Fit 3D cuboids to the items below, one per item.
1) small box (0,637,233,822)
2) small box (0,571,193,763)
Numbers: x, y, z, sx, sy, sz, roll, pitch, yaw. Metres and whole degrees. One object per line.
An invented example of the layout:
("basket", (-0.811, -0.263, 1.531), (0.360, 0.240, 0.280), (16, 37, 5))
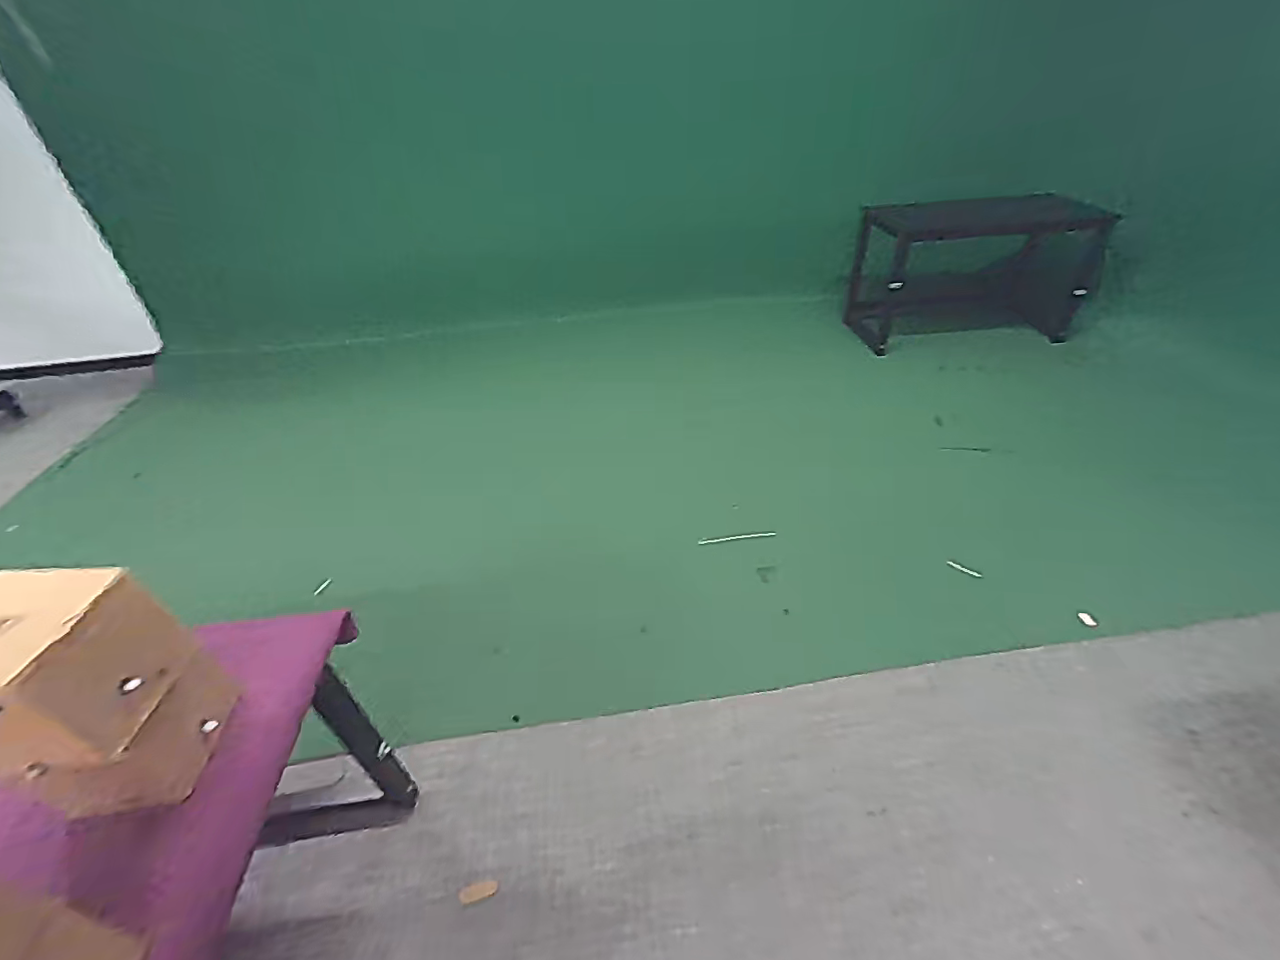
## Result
("small box", (-0.740, 0.357, 0.782), (0.168, 0.176, 0.179), (-8, 38, -3))
("small box", (-0.730, 0.233, 0.673), (0.179, 0.176, 0.168), (-2, 38, 2))
